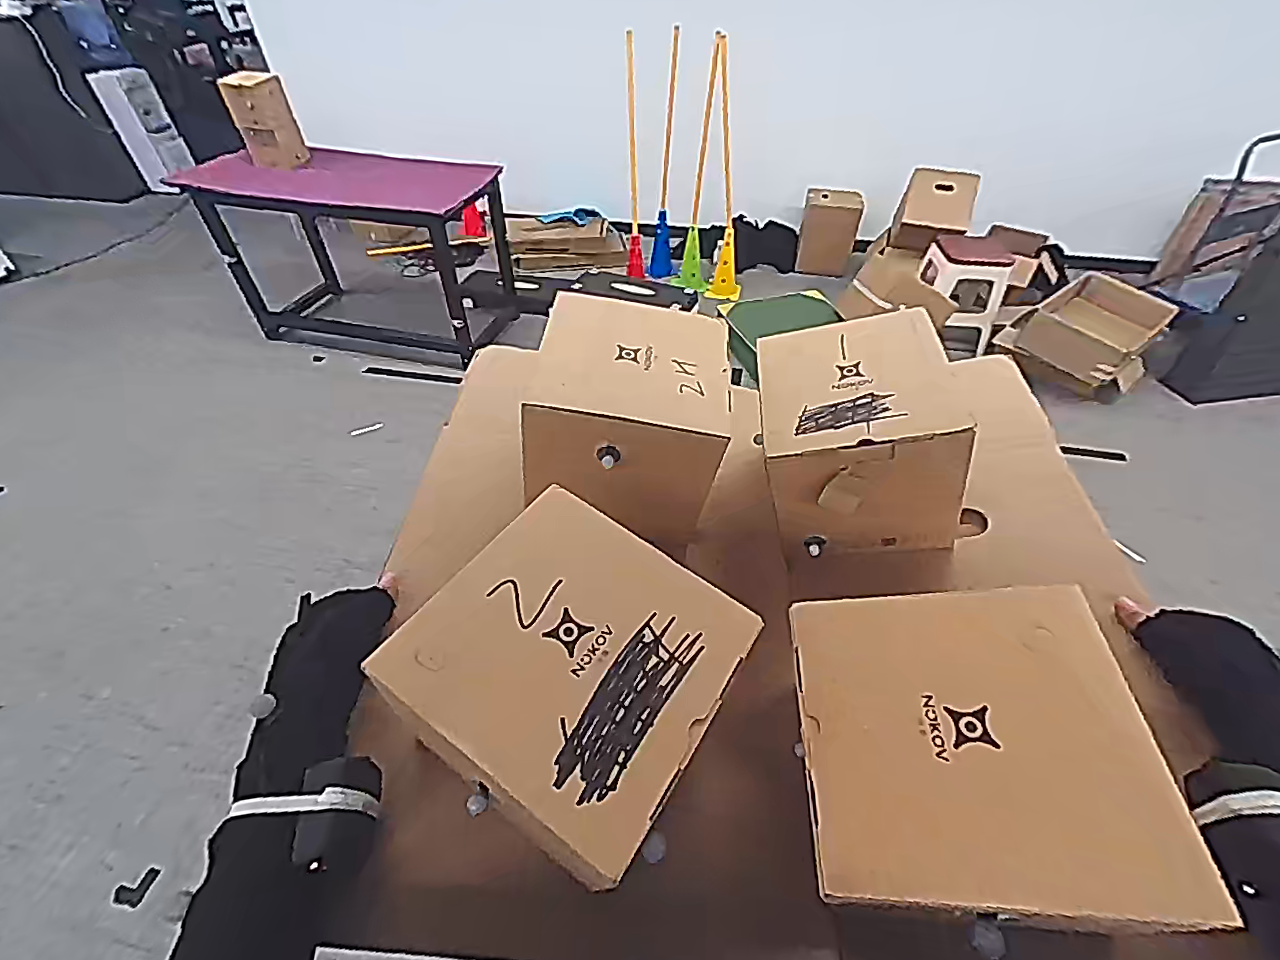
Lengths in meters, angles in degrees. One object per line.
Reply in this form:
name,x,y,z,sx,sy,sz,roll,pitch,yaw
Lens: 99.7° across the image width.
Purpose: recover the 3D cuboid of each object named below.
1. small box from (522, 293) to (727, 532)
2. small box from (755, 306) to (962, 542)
small box,-0.016,-0.063,0.559,0.179,0.176,0.168,10,51,-3
small box,0.216,-0.047,0.565,0.168,0.176,0.179,-7,48,17
